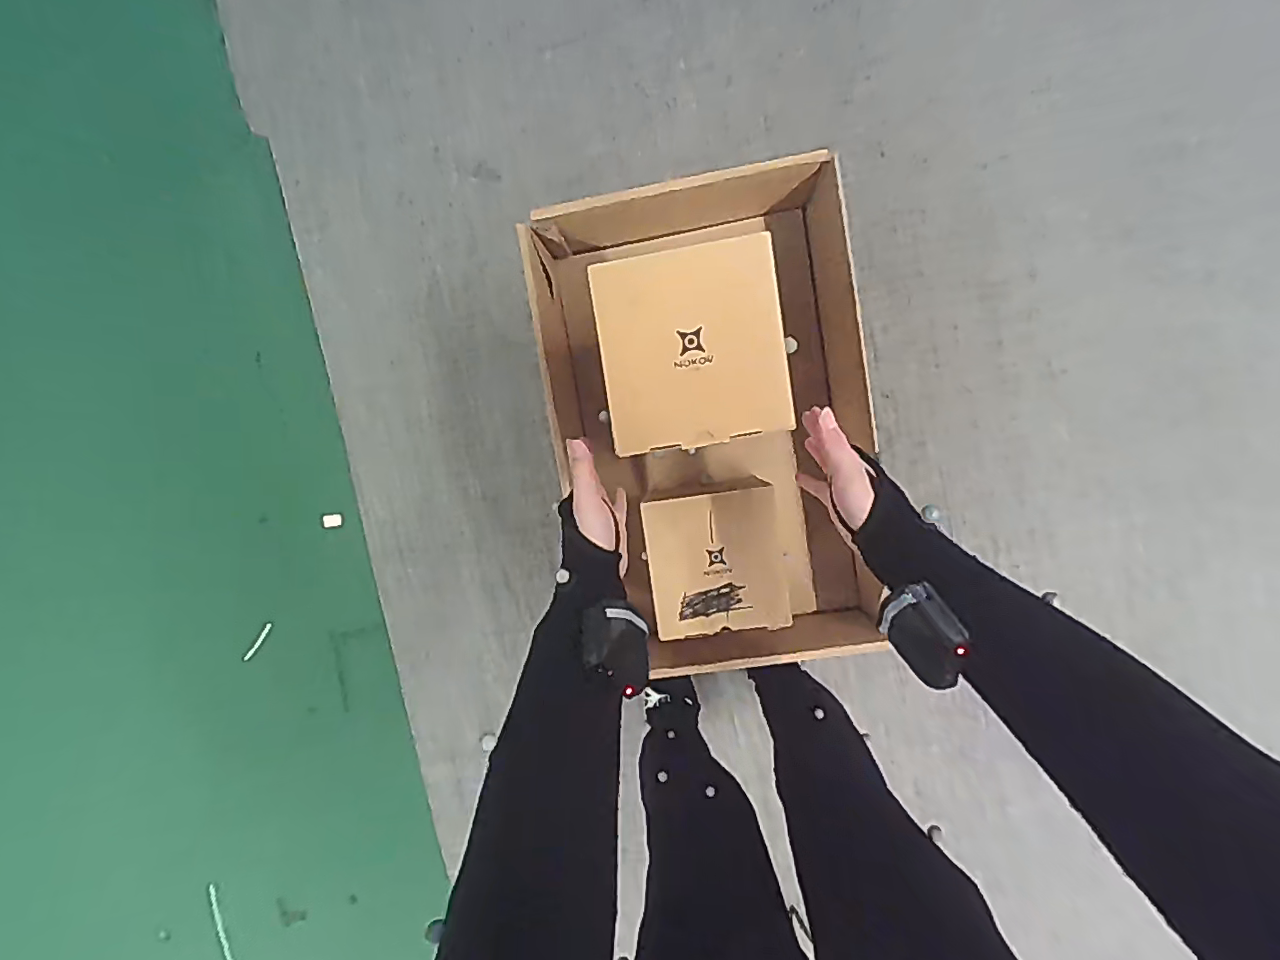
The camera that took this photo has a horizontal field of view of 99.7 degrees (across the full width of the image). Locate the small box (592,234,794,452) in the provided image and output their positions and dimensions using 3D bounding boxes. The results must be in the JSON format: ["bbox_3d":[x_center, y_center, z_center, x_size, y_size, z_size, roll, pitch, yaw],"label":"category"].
[{"bbox_3d":[0.053,-0.128,0.566,0.168,0.176,0.179,-9,95,5],"label":"small box"}]

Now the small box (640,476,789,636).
[{"bbox_3d":[0.098,0.094,0.738,0.168,0.176,0.179,-8,92,5],"label":"small box"}]
